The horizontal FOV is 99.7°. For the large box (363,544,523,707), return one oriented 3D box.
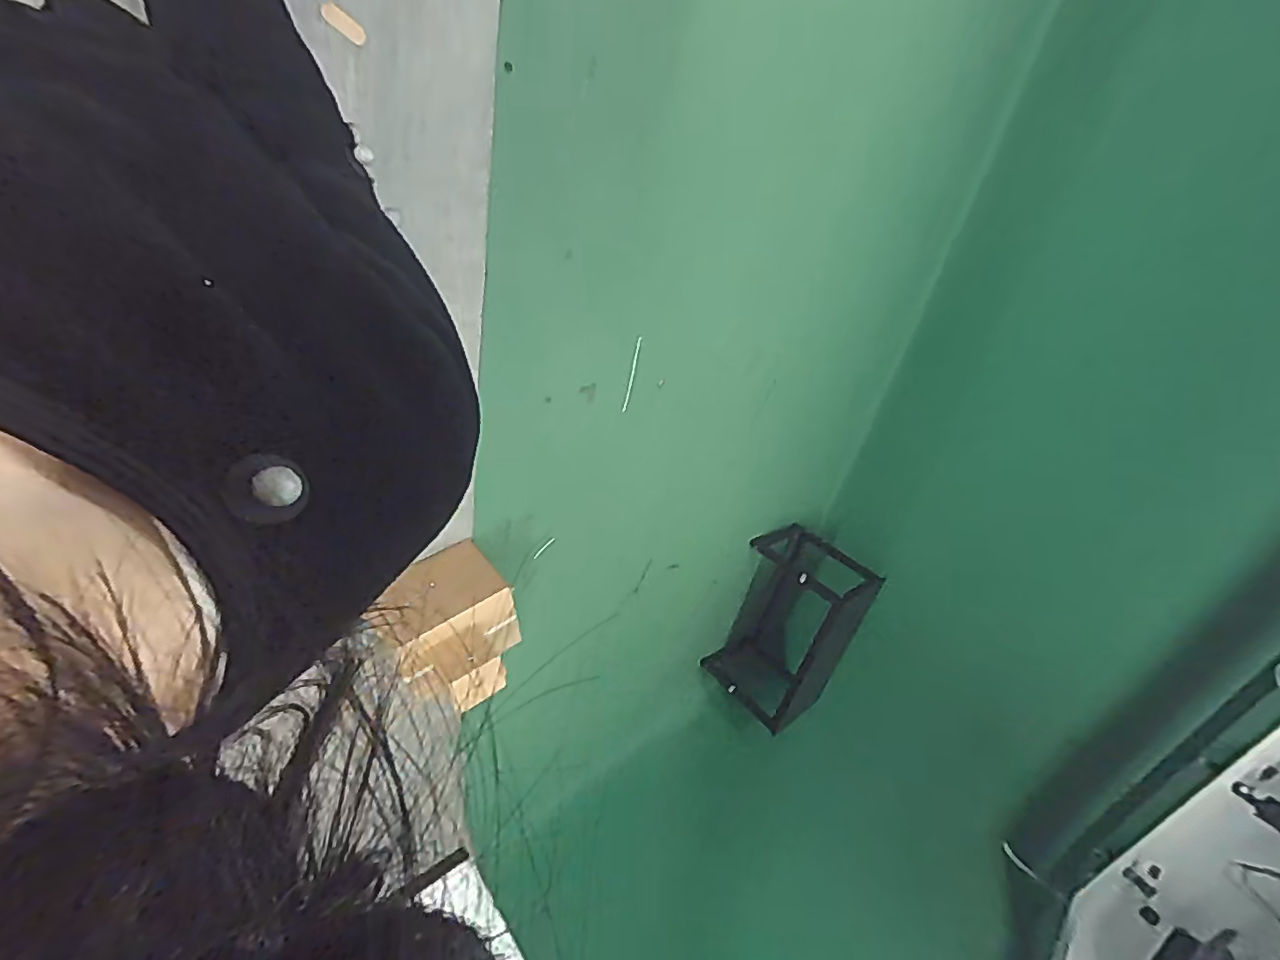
[{"bbox_3d":[-0.682,0.498,1.910,0.408,0.320,0.320,-28,137,-31],"label":"large box"}]

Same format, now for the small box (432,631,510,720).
[{"bbox_3d":[-0.545,0.625,1.748,0.179,0.176,0.168,-24,132,-33],"label":"small box"}]
